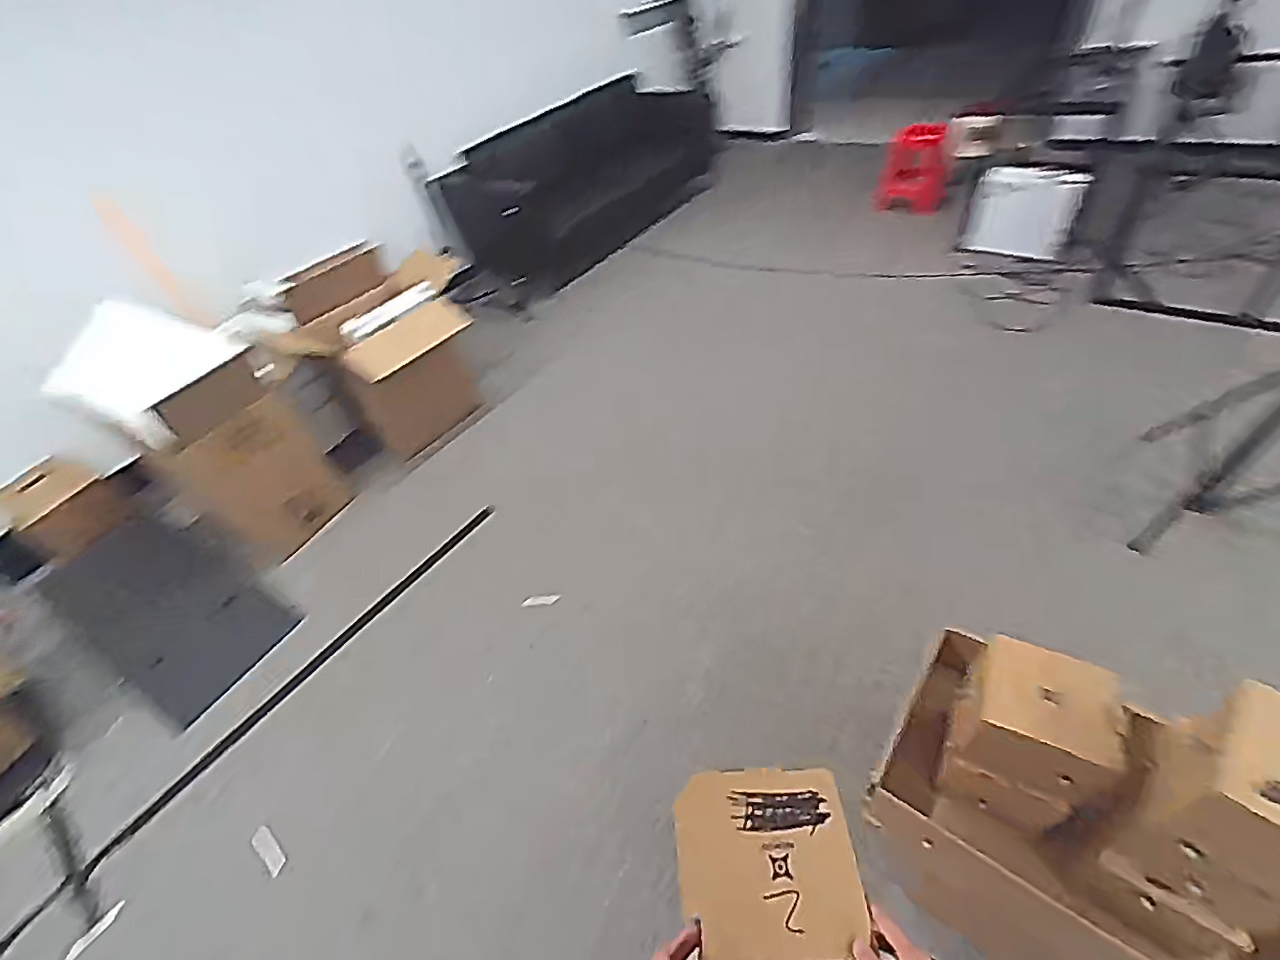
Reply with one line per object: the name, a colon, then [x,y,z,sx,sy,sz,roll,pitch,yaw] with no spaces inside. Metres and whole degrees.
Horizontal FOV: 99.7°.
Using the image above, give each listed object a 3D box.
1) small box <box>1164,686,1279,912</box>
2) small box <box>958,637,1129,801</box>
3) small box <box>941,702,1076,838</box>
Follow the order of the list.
small box: [0.769,0.391,0.634,0.179,0.176,0.168,-39,47,-26]
small box: [0.654,0.396,0.889,0.179,0.176,0.168,17,51,25]
small box: [0.676,0.516,0.999,0.168,0.176,0.179,17,52,26]
